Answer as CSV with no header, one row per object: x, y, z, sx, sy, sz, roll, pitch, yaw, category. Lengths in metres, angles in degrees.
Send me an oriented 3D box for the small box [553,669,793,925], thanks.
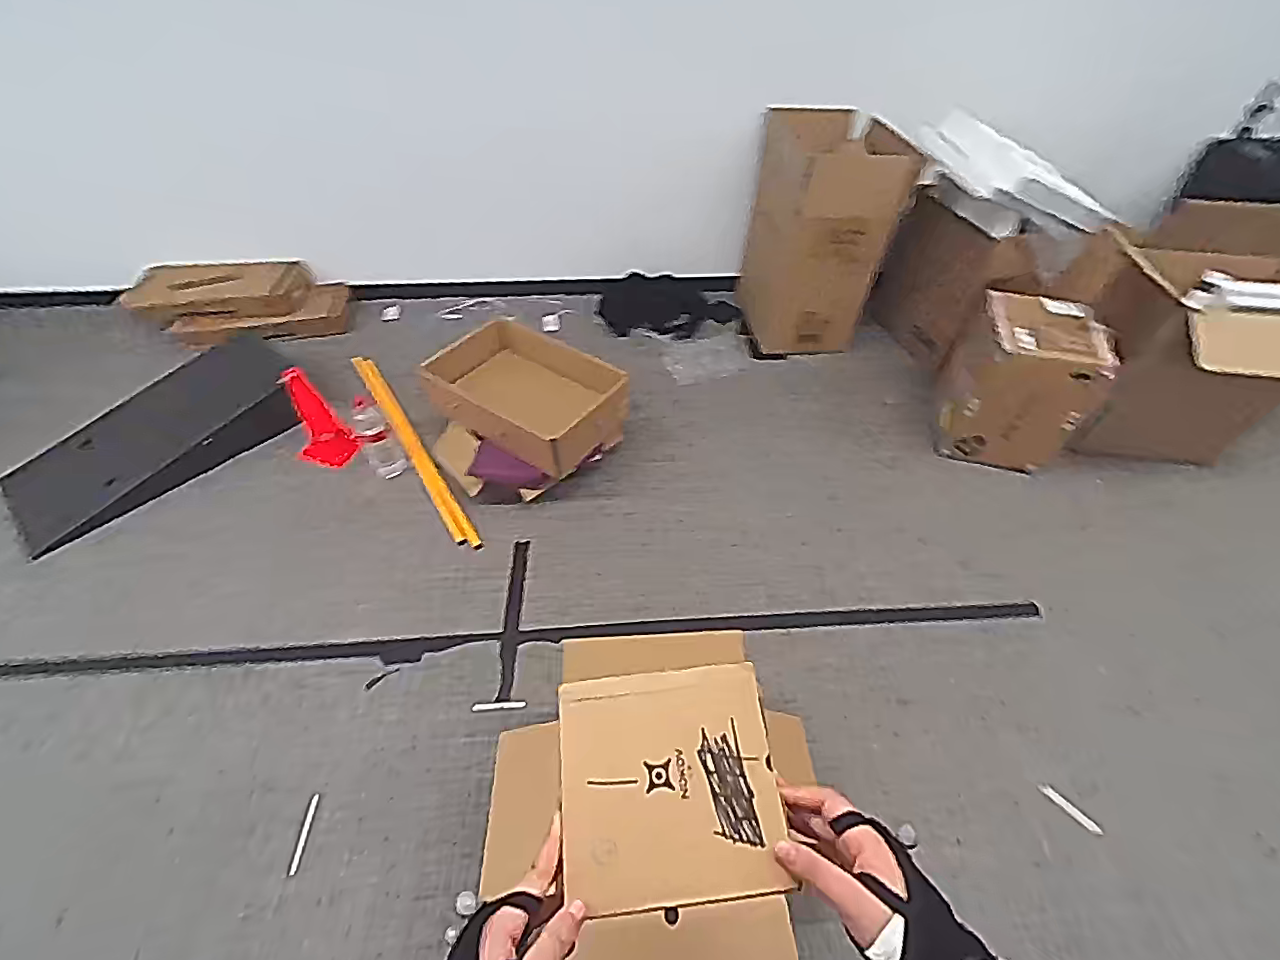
0.019,0.286,0.499,0.179,0.176,0.168,-6,56,-3,small box
